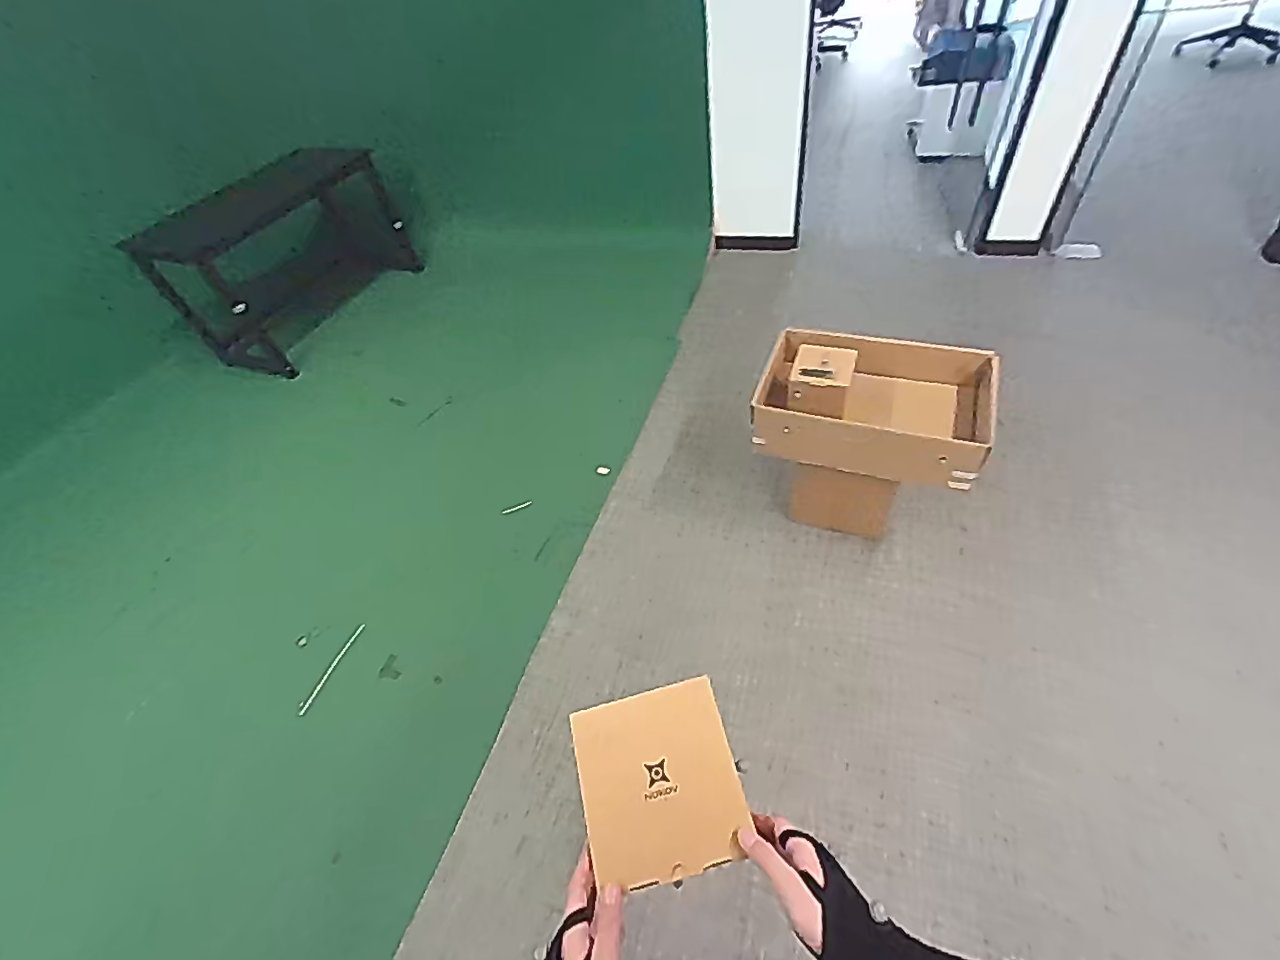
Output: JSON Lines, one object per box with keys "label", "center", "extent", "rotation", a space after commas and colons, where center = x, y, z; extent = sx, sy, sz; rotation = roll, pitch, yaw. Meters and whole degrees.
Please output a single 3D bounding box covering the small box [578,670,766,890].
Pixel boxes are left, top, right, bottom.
{"label": "small box", "center": [0.033, 0.347, 0.631], "extent": [0.168, 0.176, 0.179], "rotation": [-14, 58, -2]}
